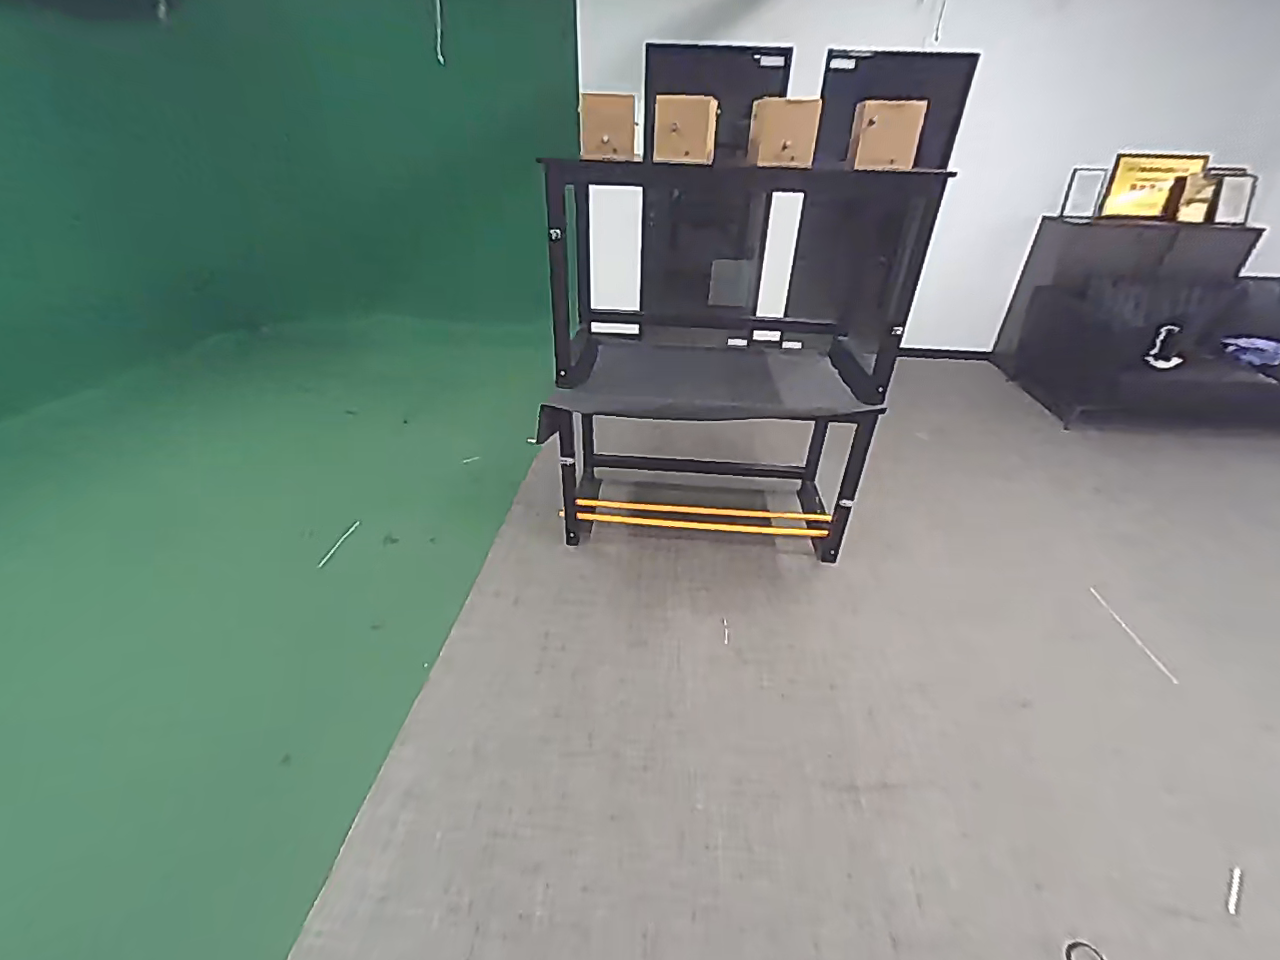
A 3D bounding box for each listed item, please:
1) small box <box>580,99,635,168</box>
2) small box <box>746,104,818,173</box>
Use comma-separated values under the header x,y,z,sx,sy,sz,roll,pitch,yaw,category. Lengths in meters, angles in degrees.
x,y,z,sx,sy,sz,roll,pitch,yaw,category
-0.103,-1.101,1.722,0.168,0.176,0.179,0,33,-3,small box
0.431,-1.052,1.670,0.168,0.176,0.179,0,32,-1,small box
